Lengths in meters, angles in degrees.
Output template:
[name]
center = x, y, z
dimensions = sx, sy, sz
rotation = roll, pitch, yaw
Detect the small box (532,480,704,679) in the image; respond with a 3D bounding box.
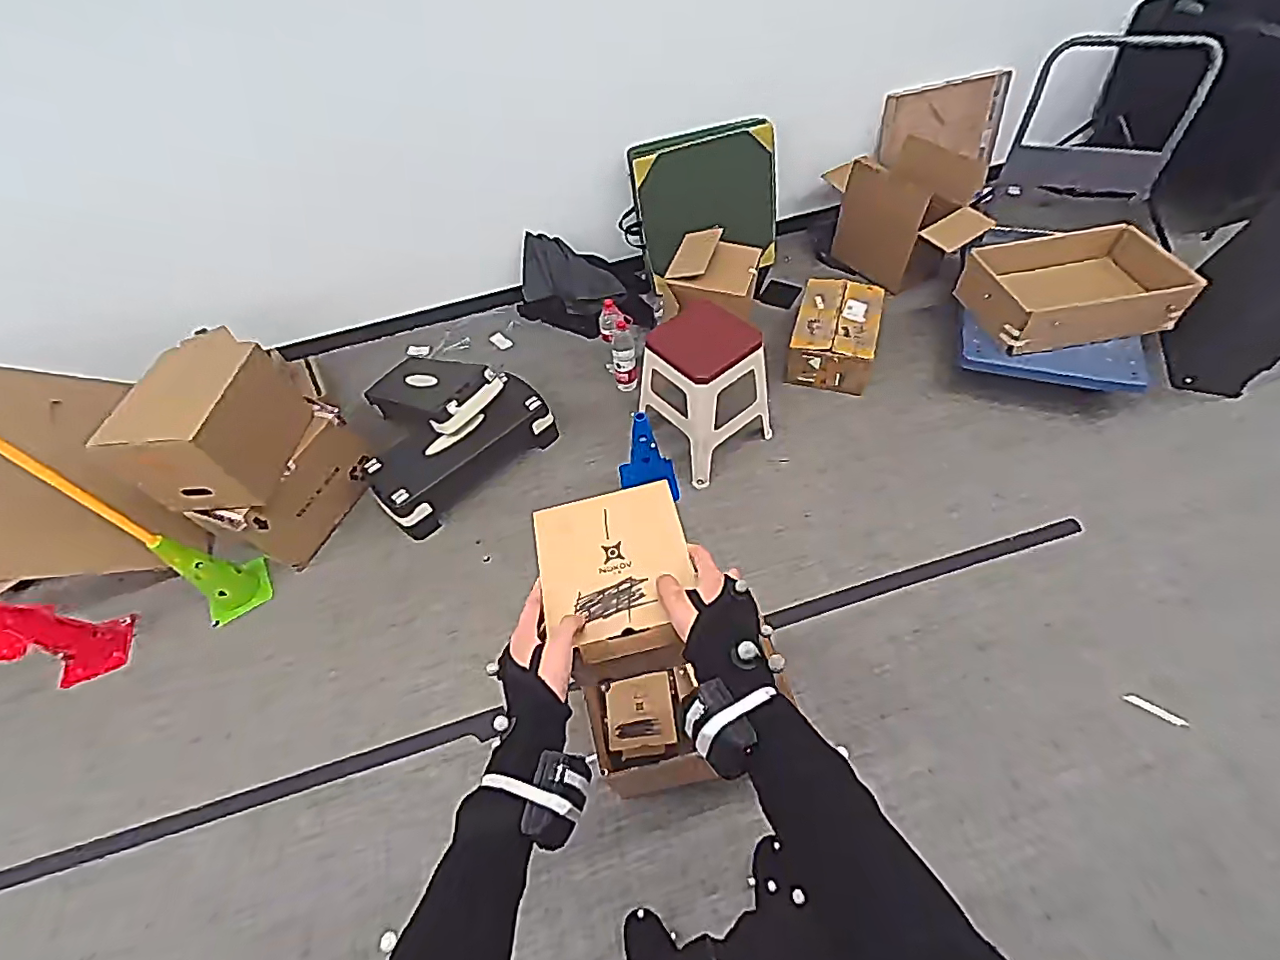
[small box]
center = -0.022, 0.131, 0.660
dimensions = 0.168, 0.176, 0.179
rotation = -14, 56, -1
